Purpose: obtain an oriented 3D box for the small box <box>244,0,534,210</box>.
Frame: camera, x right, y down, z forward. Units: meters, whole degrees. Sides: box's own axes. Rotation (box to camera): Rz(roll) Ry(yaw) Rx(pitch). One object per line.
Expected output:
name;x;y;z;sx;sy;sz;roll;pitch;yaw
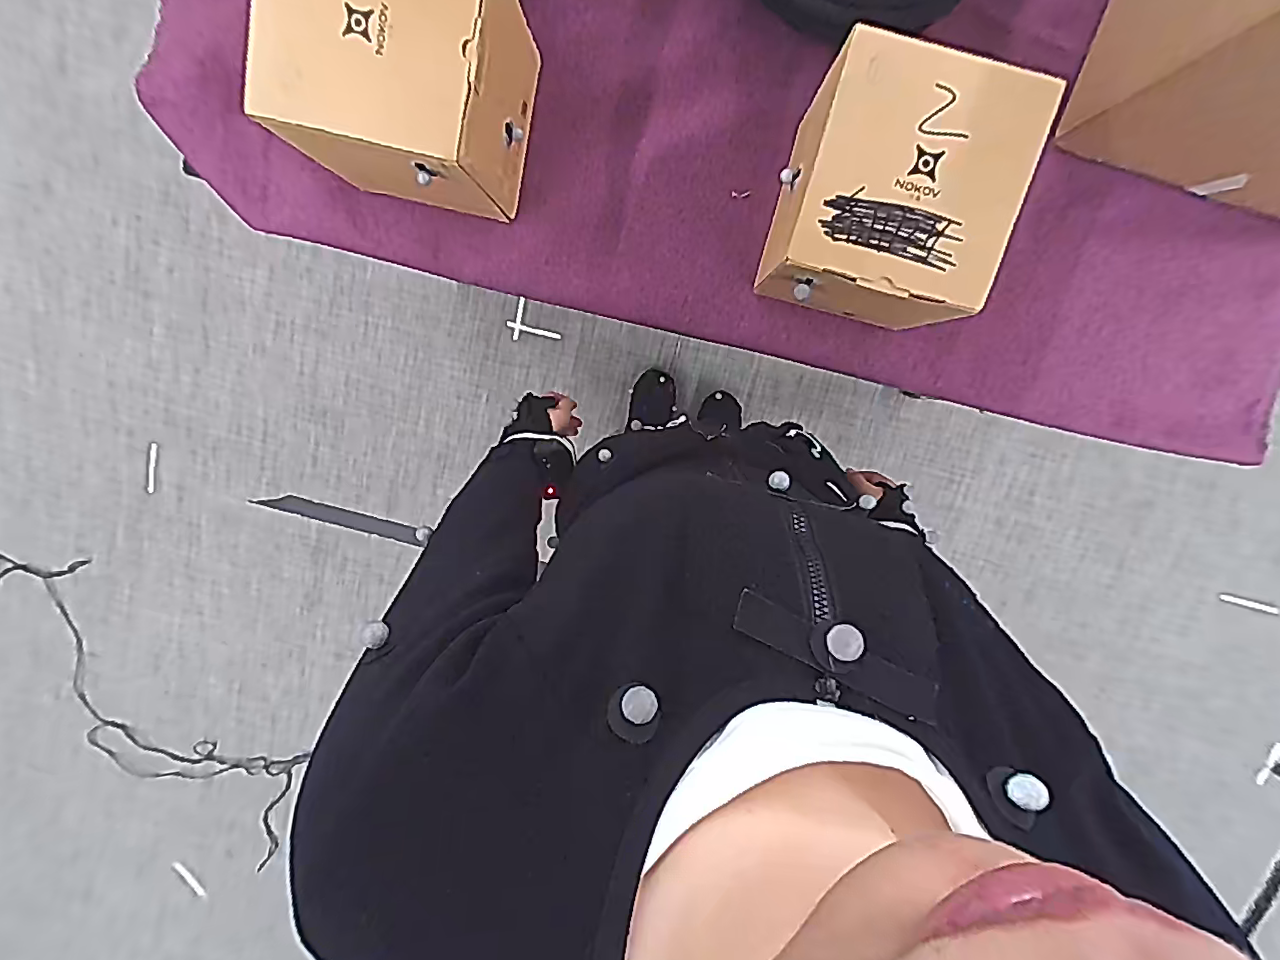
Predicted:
small box;-0.210;-0.368;0.493;0.179;0.176;0.168;12;101;-1
